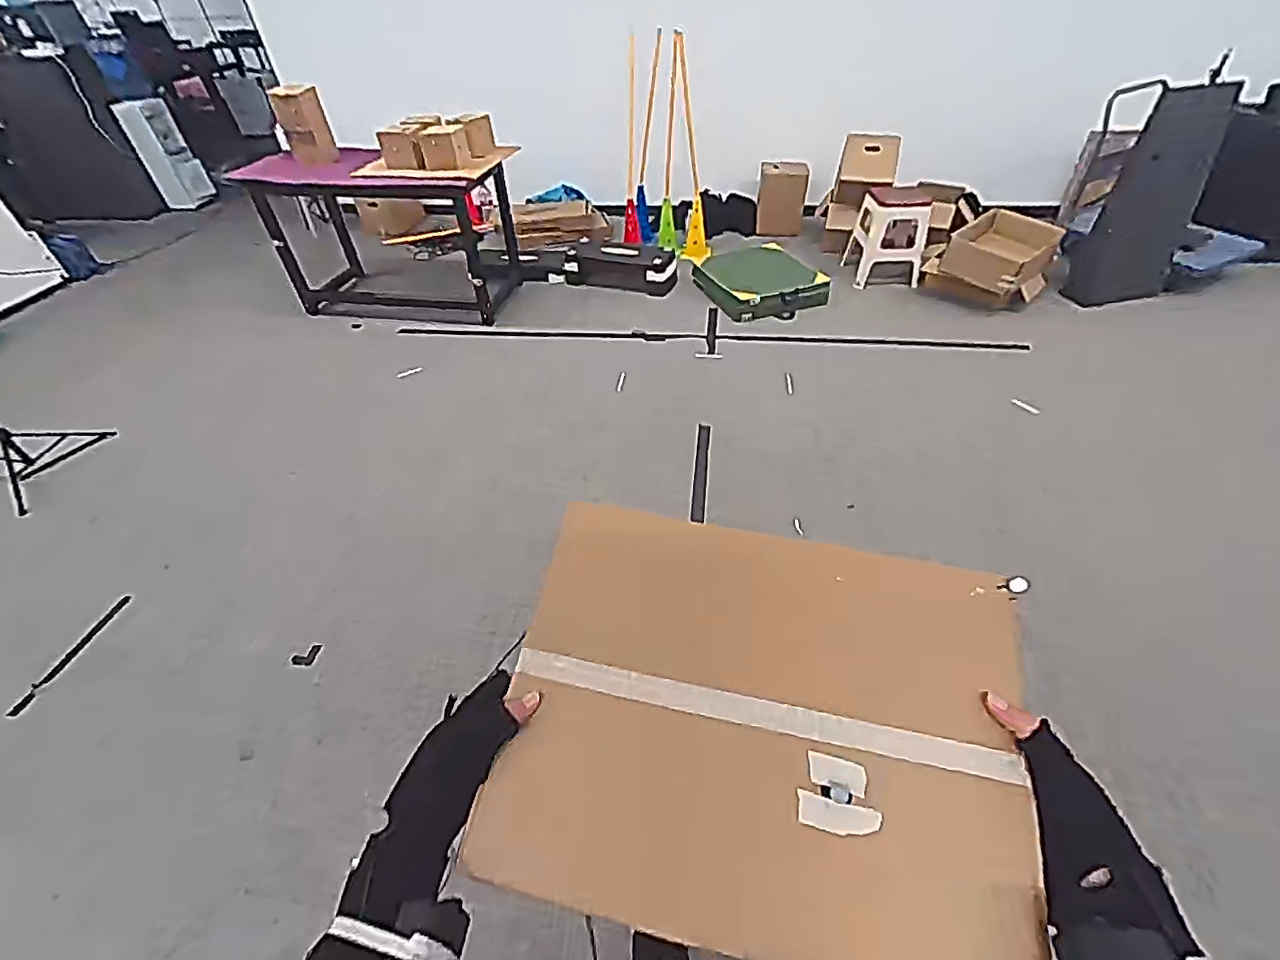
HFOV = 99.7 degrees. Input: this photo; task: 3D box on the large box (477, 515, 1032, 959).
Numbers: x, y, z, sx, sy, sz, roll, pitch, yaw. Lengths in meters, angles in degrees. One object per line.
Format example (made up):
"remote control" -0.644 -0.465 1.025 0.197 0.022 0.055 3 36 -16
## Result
"large box" 0.103 0.264 0.582 0.408 0.320 0.320 9 63 9
